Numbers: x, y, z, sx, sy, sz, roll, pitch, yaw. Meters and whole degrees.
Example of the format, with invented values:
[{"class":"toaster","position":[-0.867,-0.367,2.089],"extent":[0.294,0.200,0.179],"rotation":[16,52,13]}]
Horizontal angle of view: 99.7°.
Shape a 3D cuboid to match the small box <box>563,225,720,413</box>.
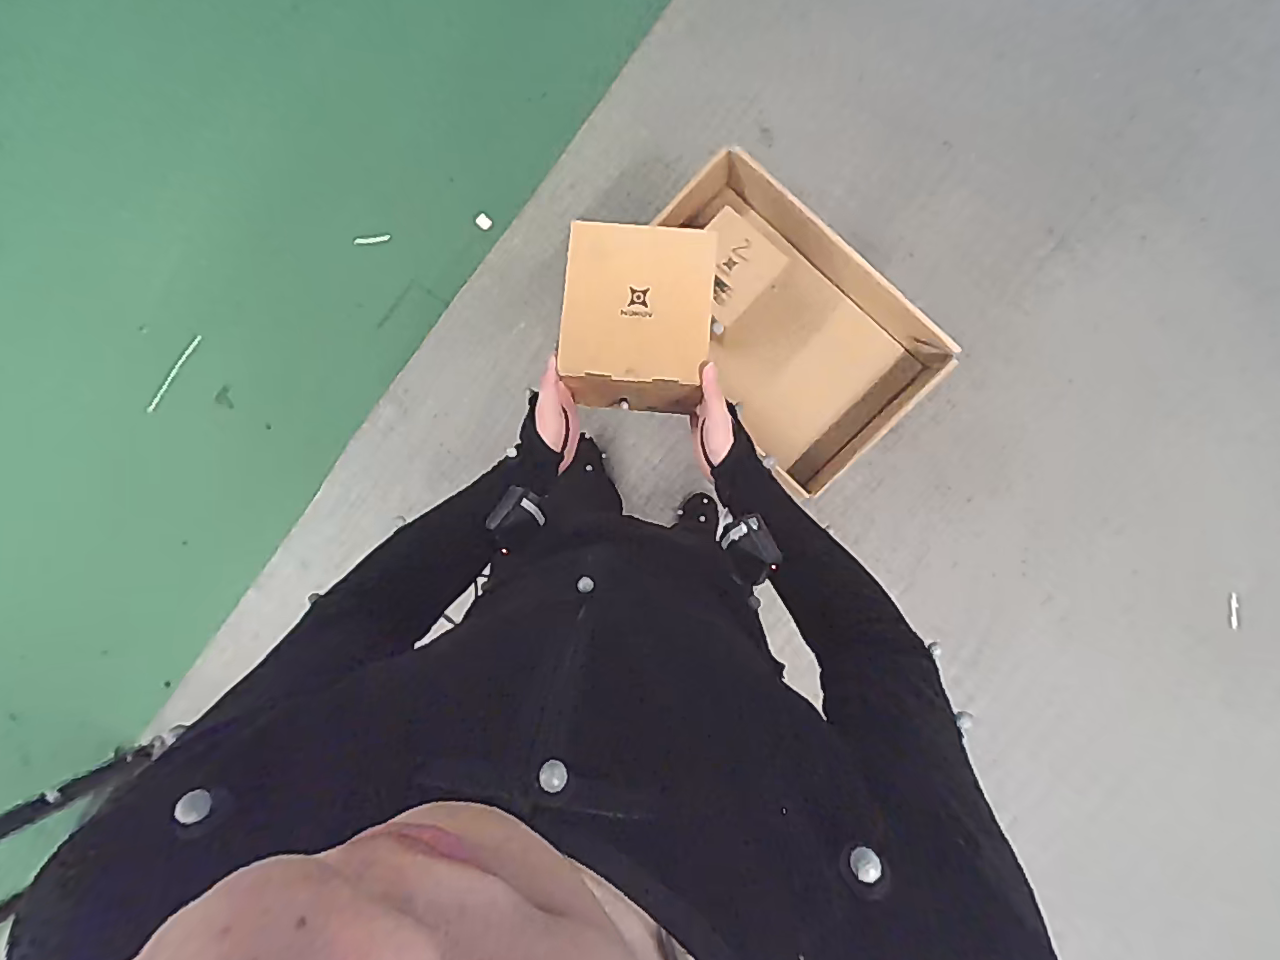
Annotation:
[{"class":"small box","position":[0.000,-0.189,0.678],"extent":[0.168,0.176,0.179],"rotation":[4,89,0]}]
